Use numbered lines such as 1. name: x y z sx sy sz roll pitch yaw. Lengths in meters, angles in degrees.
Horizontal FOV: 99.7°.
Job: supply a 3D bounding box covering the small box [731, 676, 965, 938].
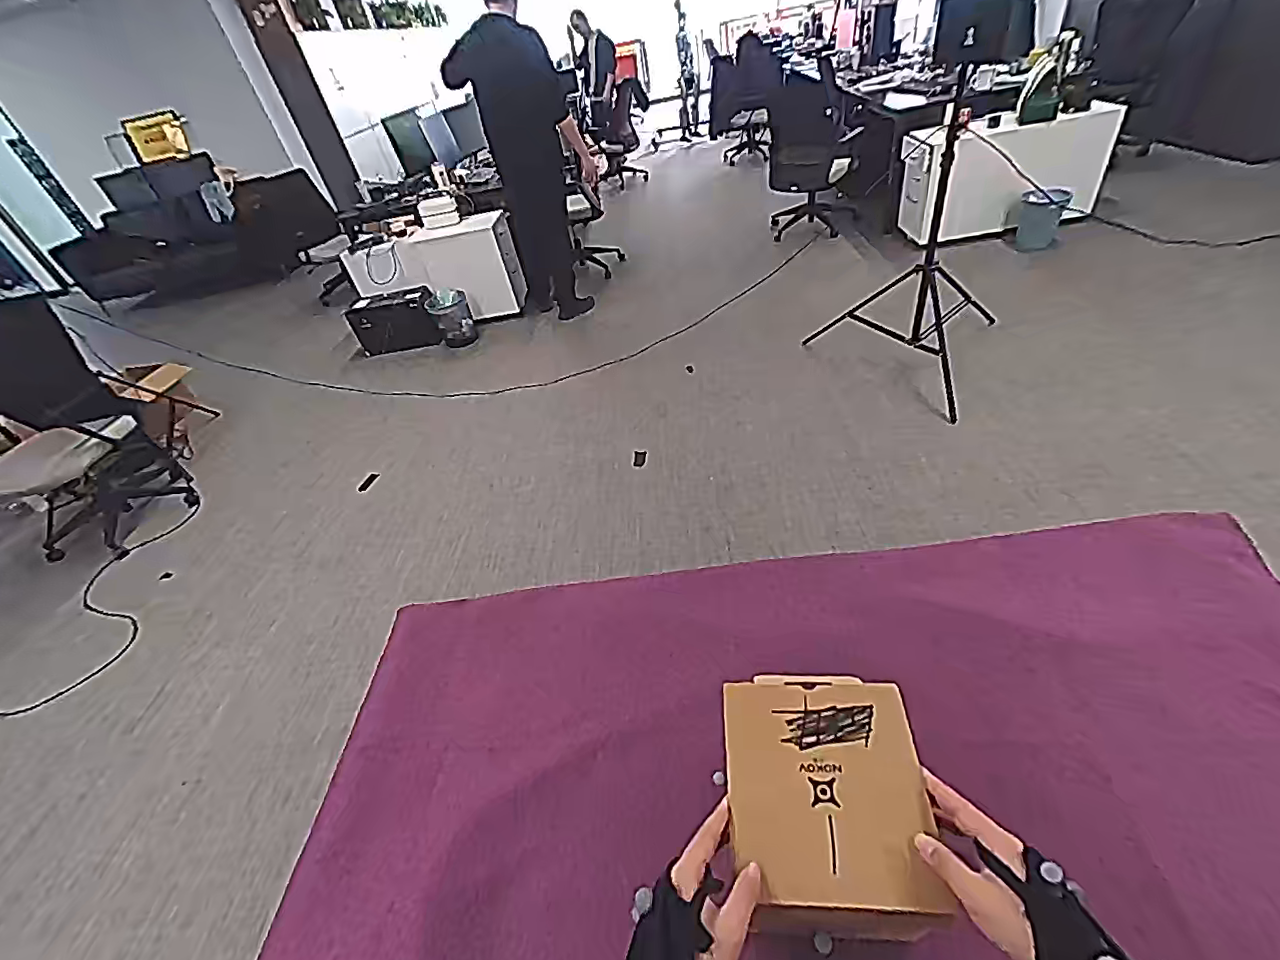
1. small box: 0.173 0.309 0.518 0.168 0.176 0.179 -3 45 9
